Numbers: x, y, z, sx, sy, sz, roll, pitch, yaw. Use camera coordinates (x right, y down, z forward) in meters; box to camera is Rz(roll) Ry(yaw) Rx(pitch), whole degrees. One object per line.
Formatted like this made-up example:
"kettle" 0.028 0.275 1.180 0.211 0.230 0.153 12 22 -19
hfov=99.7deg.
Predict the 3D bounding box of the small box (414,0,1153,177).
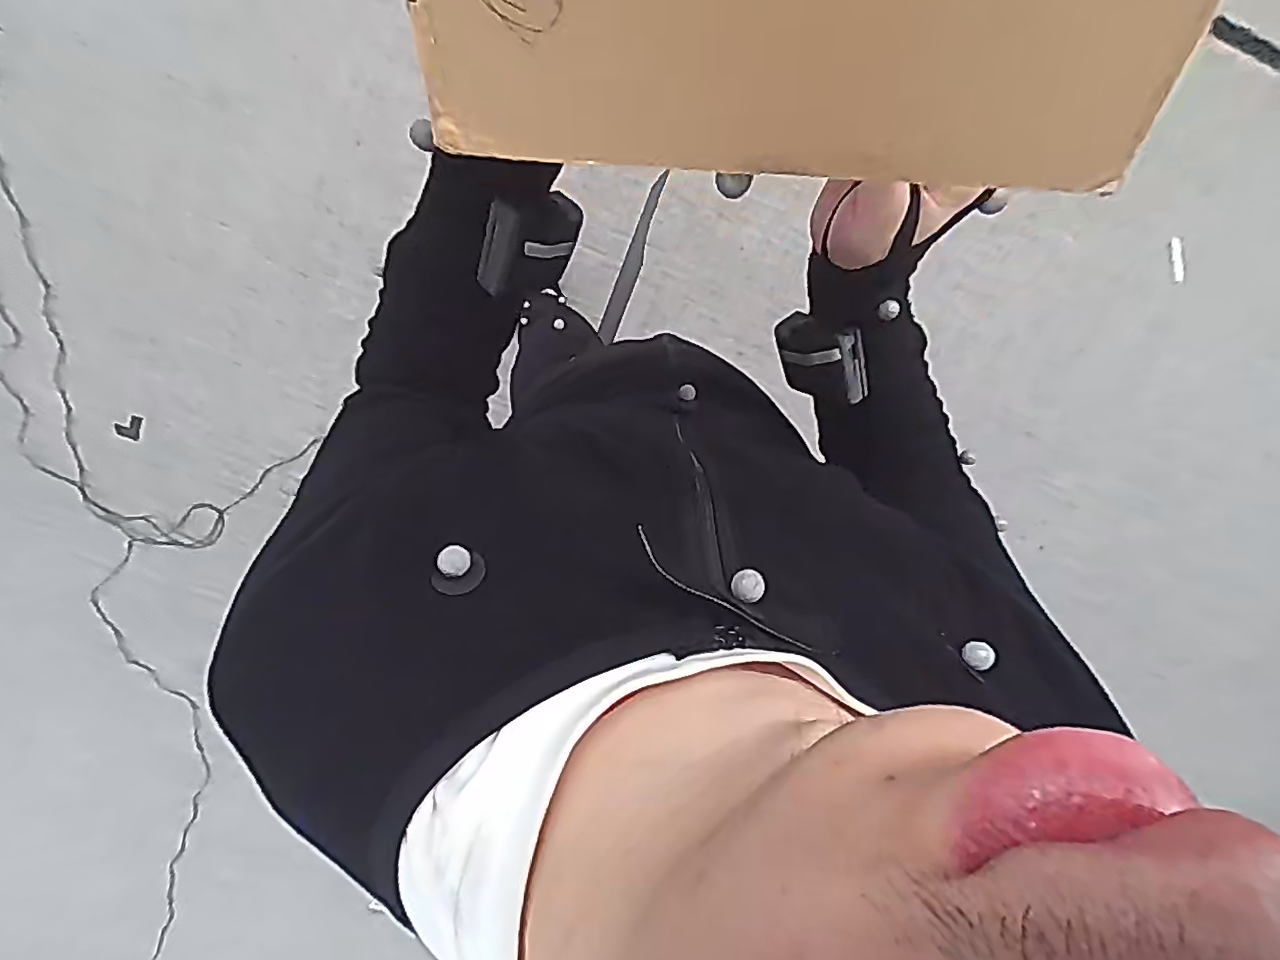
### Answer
"small box" 0.040 -0.203 0.157 0.179 0.176 0.168 6 132 5
